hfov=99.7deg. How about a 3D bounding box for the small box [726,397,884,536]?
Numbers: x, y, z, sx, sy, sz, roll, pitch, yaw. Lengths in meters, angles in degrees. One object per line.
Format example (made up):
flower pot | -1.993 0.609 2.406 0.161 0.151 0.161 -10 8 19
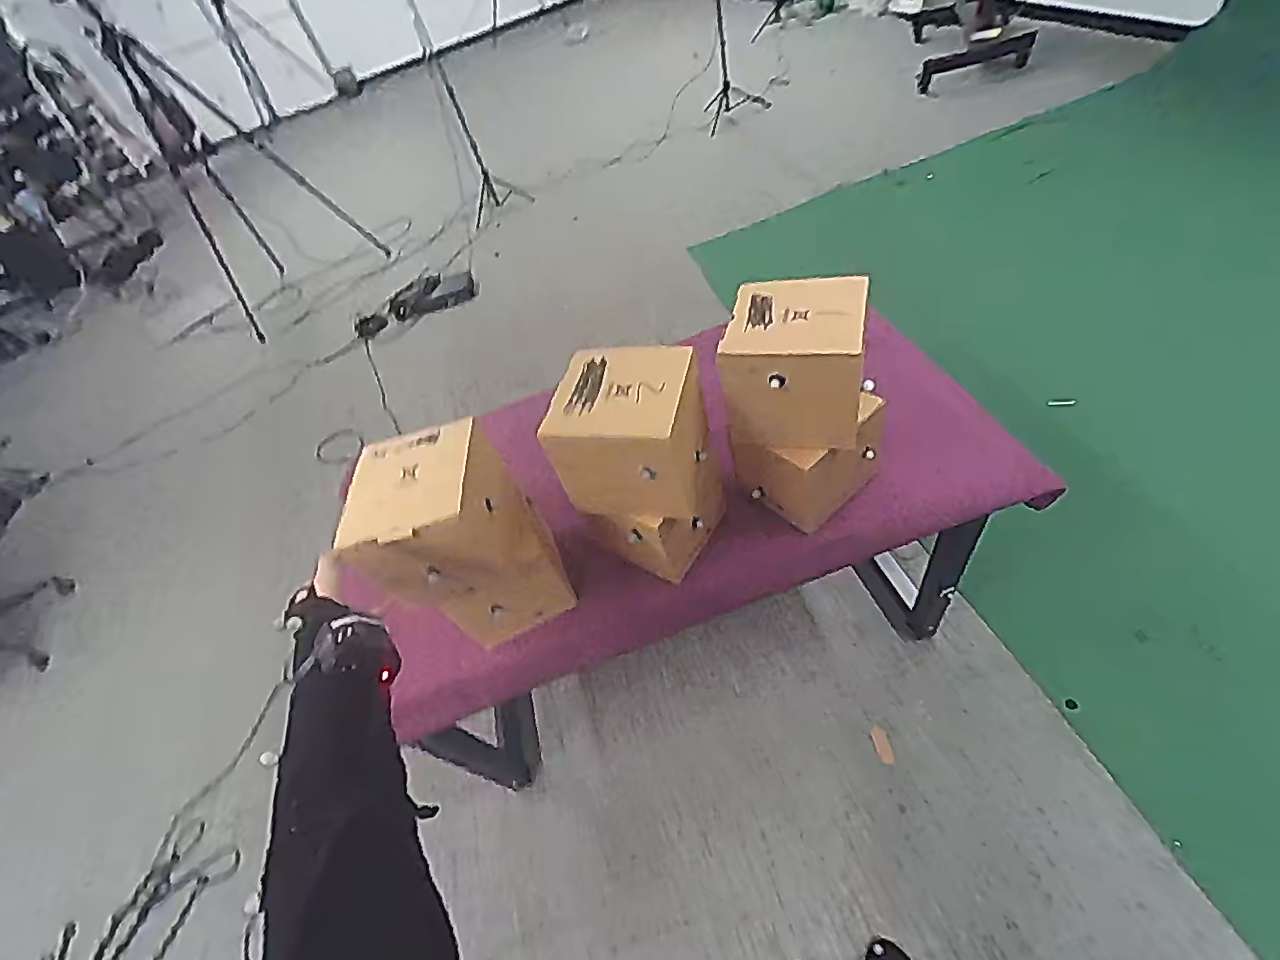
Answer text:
small box | 0.265 -0.045 0.881 0.179 0.176 0.168 -39 49 -15

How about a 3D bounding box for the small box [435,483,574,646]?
small box | -0.224 0.144 0.875 0.168 0.176 0.179 -27 48 -5

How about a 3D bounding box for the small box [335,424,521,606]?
small box | -0.273 0.057 0.743 0.168 0.176 0.179 -14 49 6

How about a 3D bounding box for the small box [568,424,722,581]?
small box | 0.019 0.041 0.883 0.179 0.176 0.168 21 60 31

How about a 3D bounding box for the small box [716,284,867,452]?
small box | 0.220 -0.155 0.769 0.179 0.176 0.168 5 52 22
